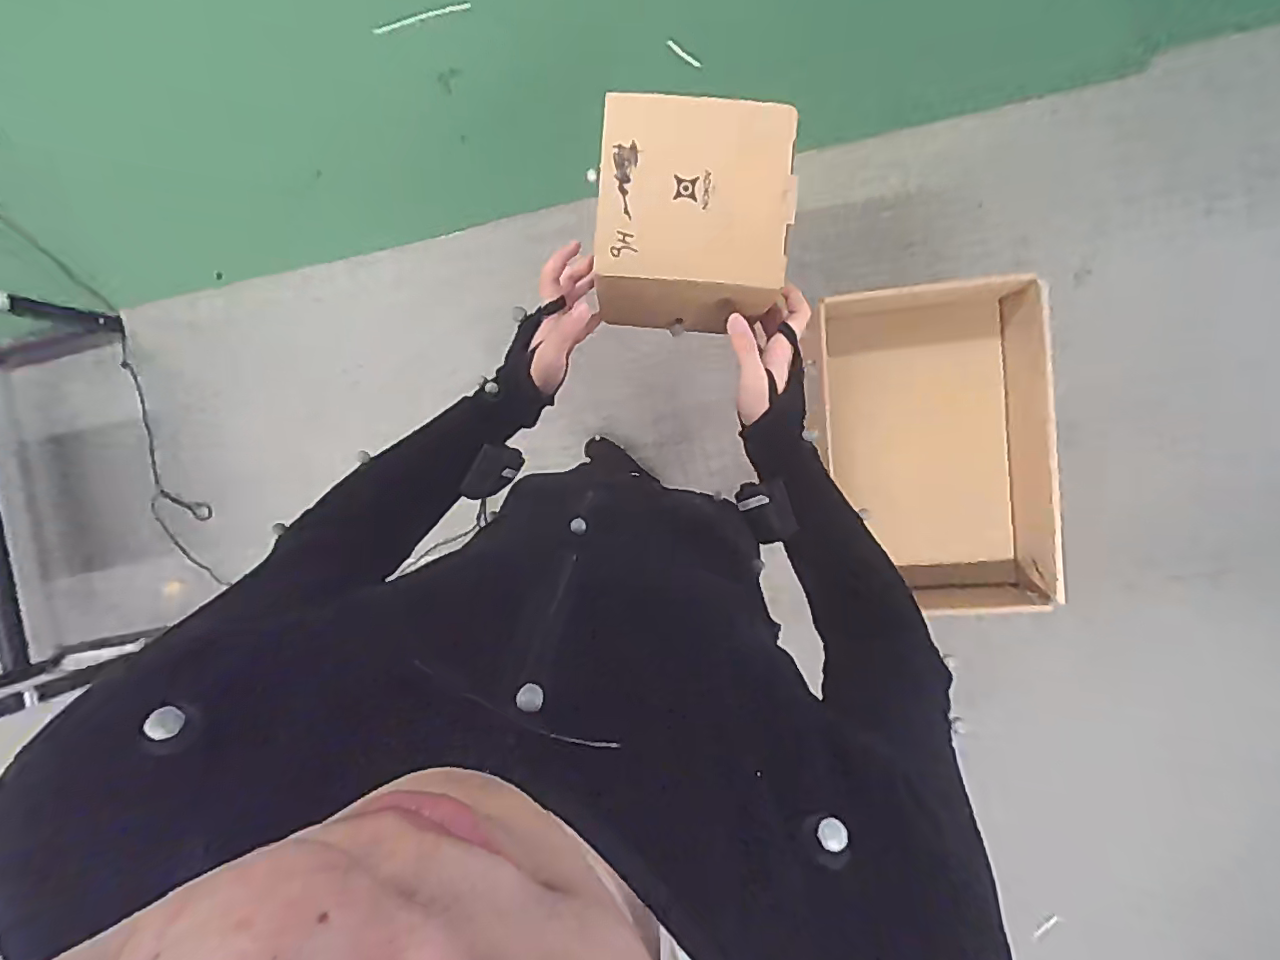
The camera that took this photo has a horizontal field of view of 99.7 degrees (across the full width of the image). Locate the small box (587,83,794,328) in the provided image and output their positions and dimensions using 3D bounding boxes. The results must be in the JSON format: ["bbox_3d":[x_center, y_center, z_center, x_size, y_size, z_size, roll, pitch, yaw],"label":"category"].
[{"bbox_3d":[0.043,-0.264,0.562,0.179,0.176,0.168,5,90,-2],"label":"small box"}]
